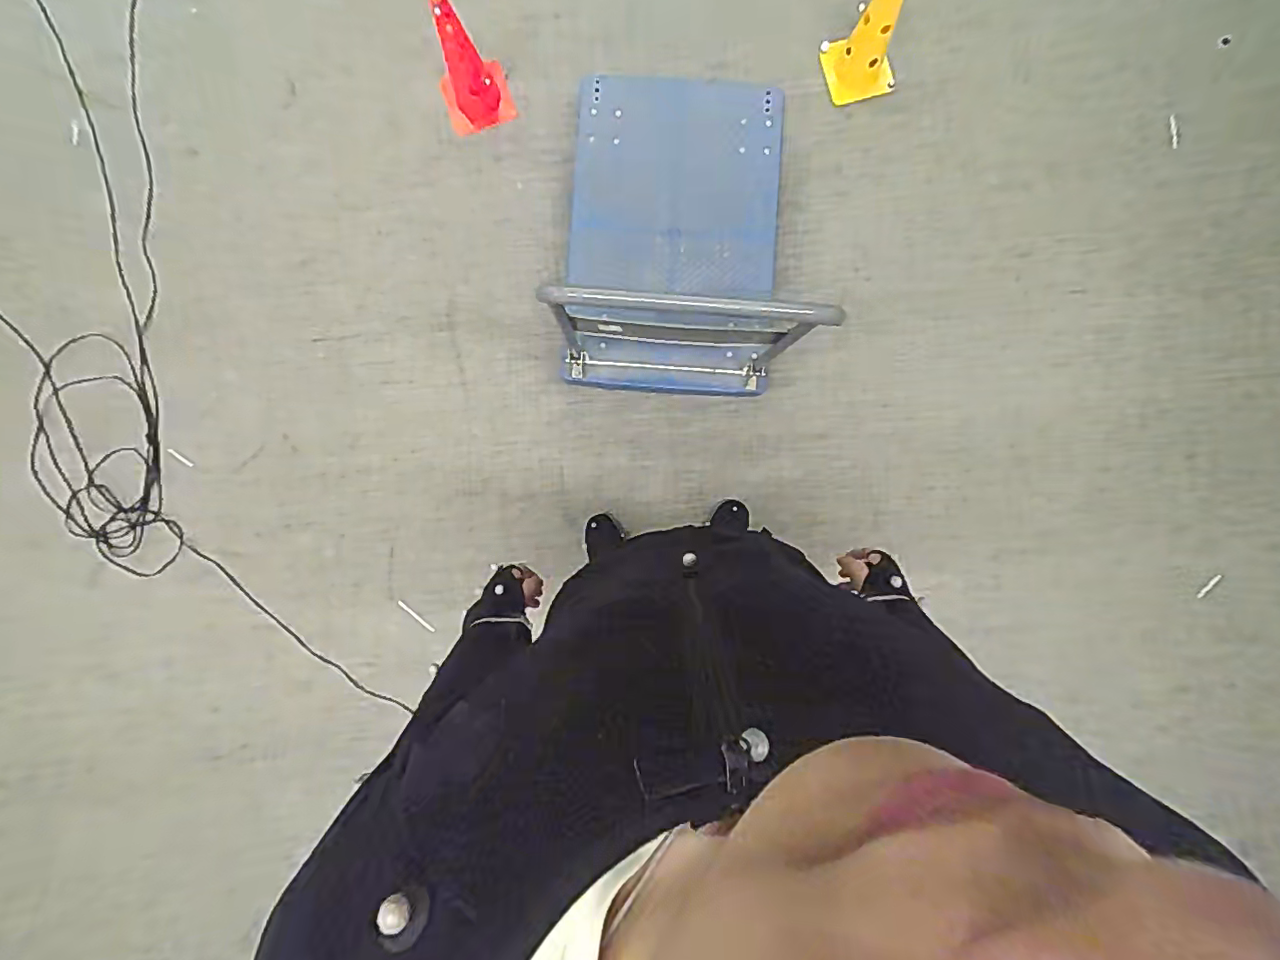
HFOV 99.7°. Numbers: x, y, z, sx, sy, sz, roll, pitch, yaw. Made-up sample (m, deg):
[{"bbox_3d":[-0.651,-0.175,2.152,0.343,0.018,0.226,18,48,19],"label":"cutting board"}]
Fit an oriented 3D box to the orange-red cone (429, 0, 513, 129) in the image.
[{"bbox_3d":[-0.514,-1.212,1.516,0.199,0.360,0.198,-19,87,1],"label":"orange-red cone"}]
